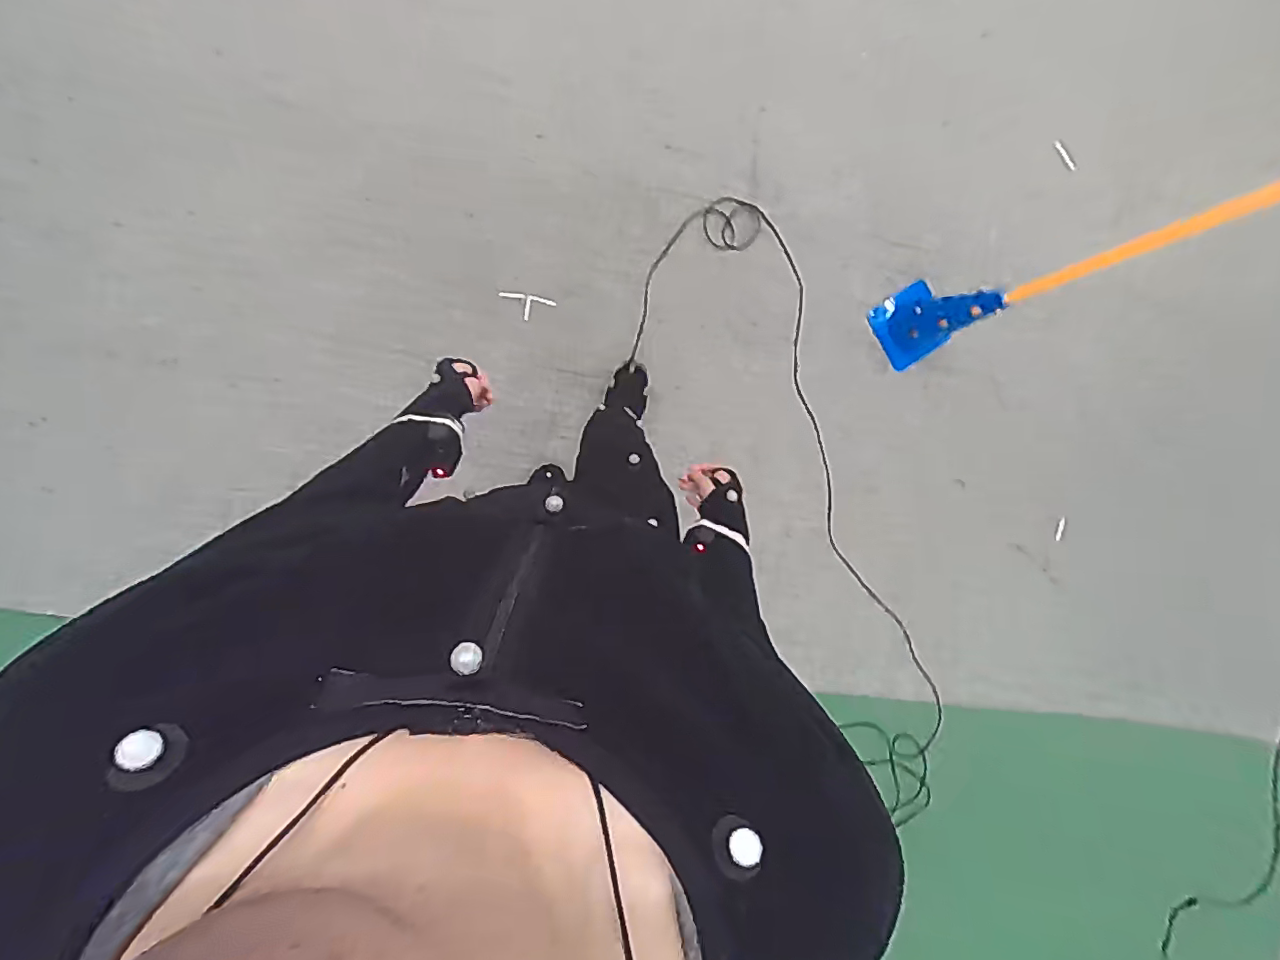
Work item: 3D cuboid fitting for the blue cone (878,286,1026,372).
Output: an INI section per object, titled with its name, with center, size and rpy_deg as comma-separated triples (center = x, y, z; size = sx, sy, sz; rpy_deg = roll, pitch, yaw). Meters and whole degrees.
[blue cone]
center = 0.798, -0.412, 1.360
size = 0.193, 0.380, 0.192
rpy_deg = -35, 100, -3
